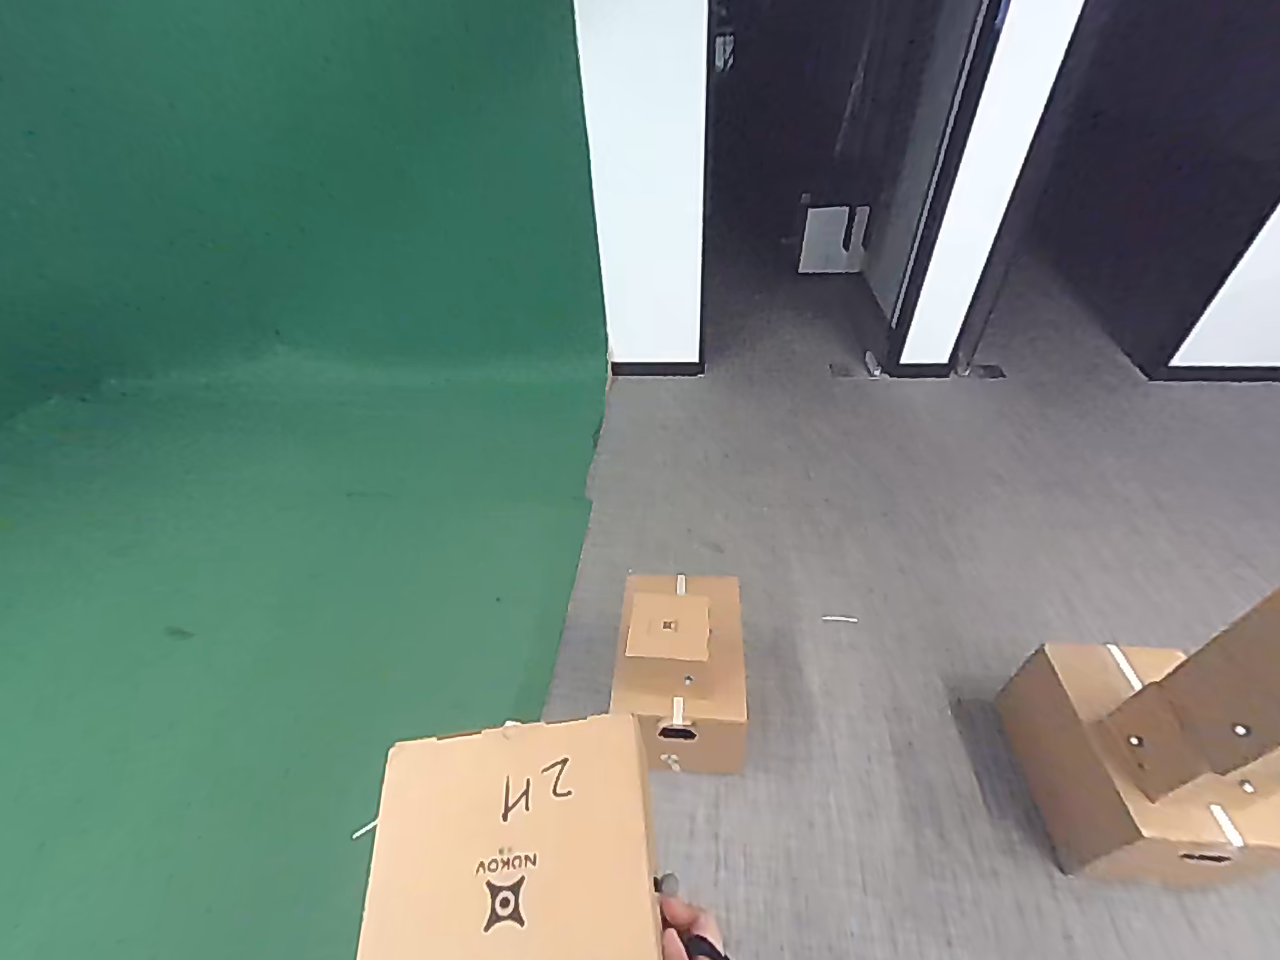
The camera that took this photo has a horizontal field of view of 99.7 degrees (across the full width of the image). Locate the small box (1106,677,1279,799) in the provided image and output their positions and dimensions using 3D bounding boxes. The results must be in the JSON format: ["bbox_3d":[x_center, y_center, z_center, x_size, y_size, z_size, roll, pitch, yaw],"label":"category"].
[{"bbox_3d":[1.065,0.496,1.037,0.179,0.176,0.168,-1,44,5],"label":"small box"}]

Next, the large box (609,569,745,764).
[{"bbox_3d":[0.104,0.497,1.454,0.320,0.320,0.408,1,42,5],"label":"large box"}]

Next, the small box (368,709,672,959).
[{"bbox_3d":[-0.067,0.281,0.383,0.168,0.176,0.179,-7,53,-1],"label":"small box"}]

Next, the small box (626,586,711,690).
[{"bbox_3d":[0.071,0.364,1.239,0.179,0.176,0.168,2,42,9],"label":"small box"}]
